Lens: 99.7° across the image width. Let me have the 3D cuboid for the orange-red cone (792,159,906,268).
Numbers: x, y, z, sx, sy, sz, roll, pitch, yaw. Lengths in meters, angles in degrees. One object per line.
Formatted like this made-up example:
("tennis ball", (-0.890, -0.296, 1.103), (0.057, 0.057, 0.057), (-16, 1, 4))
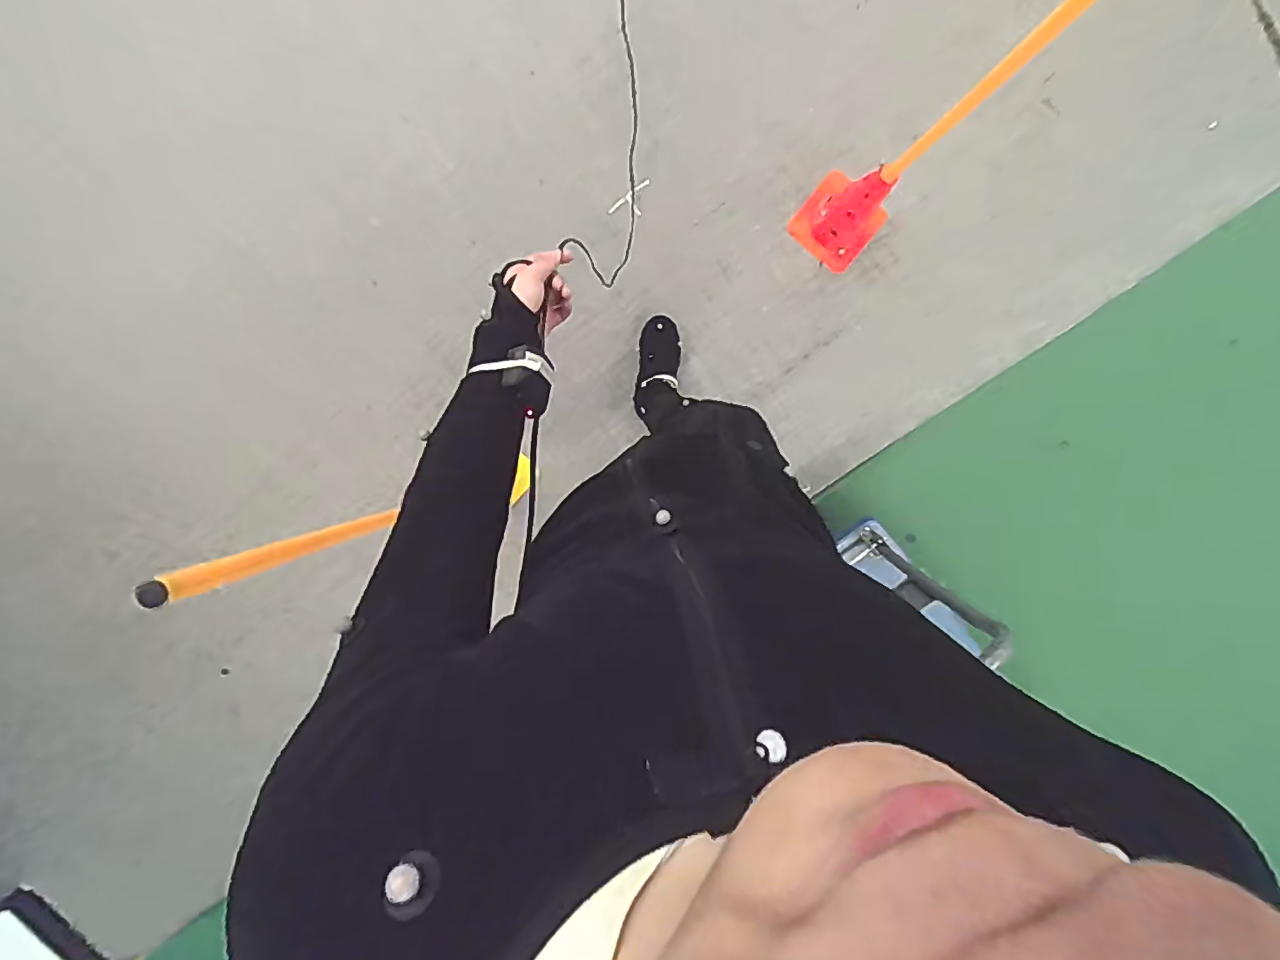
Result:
("orange-red cone", (0.529, -0.669, 1.273), (0.198, 0.360, 0.199), (39, 98, -6))
